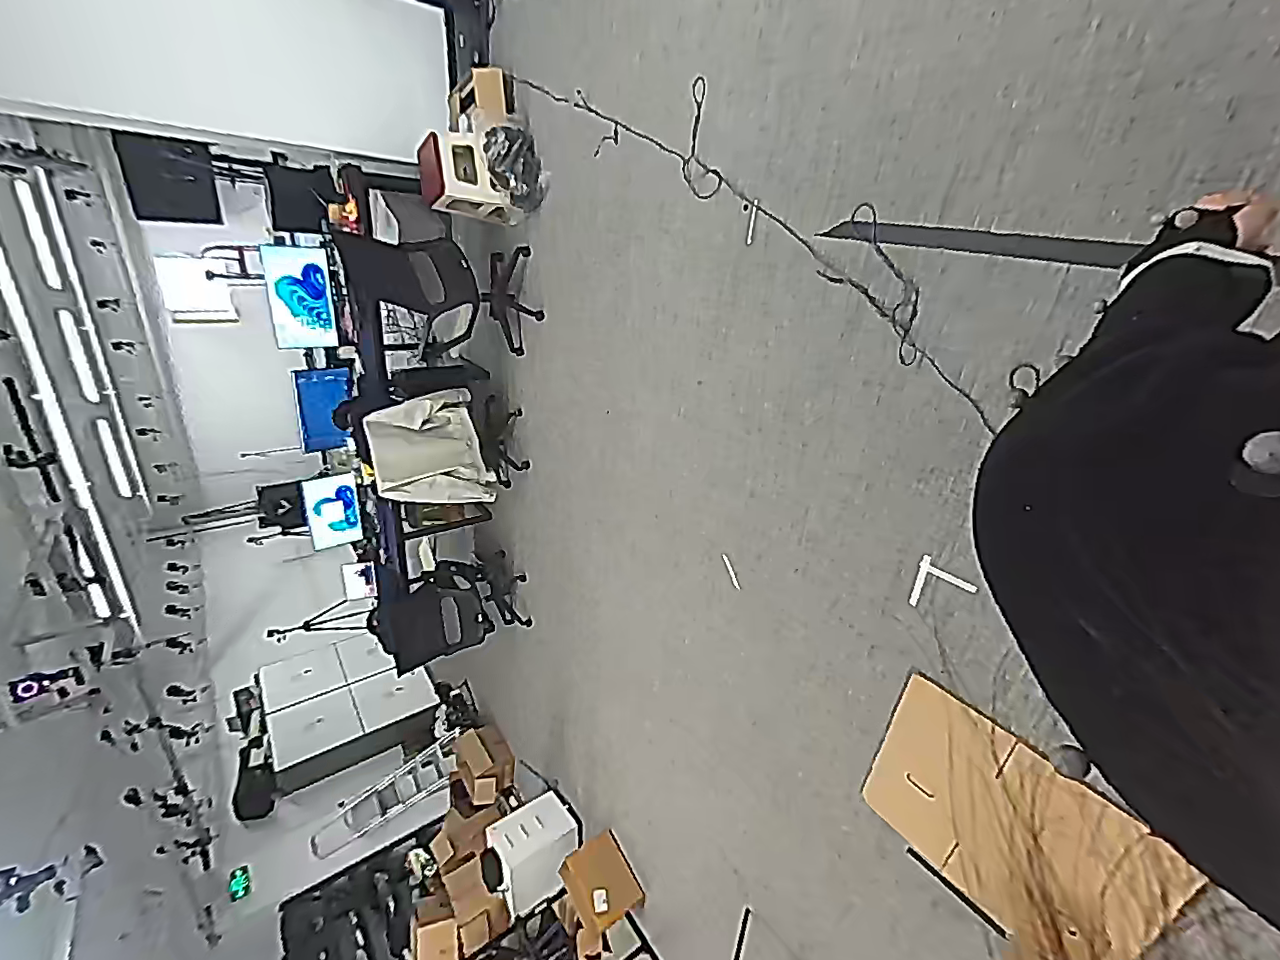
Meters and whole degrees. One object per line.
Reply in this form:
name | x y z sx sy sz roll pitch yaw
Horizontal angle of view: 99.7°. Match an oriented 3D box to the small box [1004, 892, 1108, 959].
small box | 1.079 1.242 1.406 0.168 0.176 0.179 21 117 48
